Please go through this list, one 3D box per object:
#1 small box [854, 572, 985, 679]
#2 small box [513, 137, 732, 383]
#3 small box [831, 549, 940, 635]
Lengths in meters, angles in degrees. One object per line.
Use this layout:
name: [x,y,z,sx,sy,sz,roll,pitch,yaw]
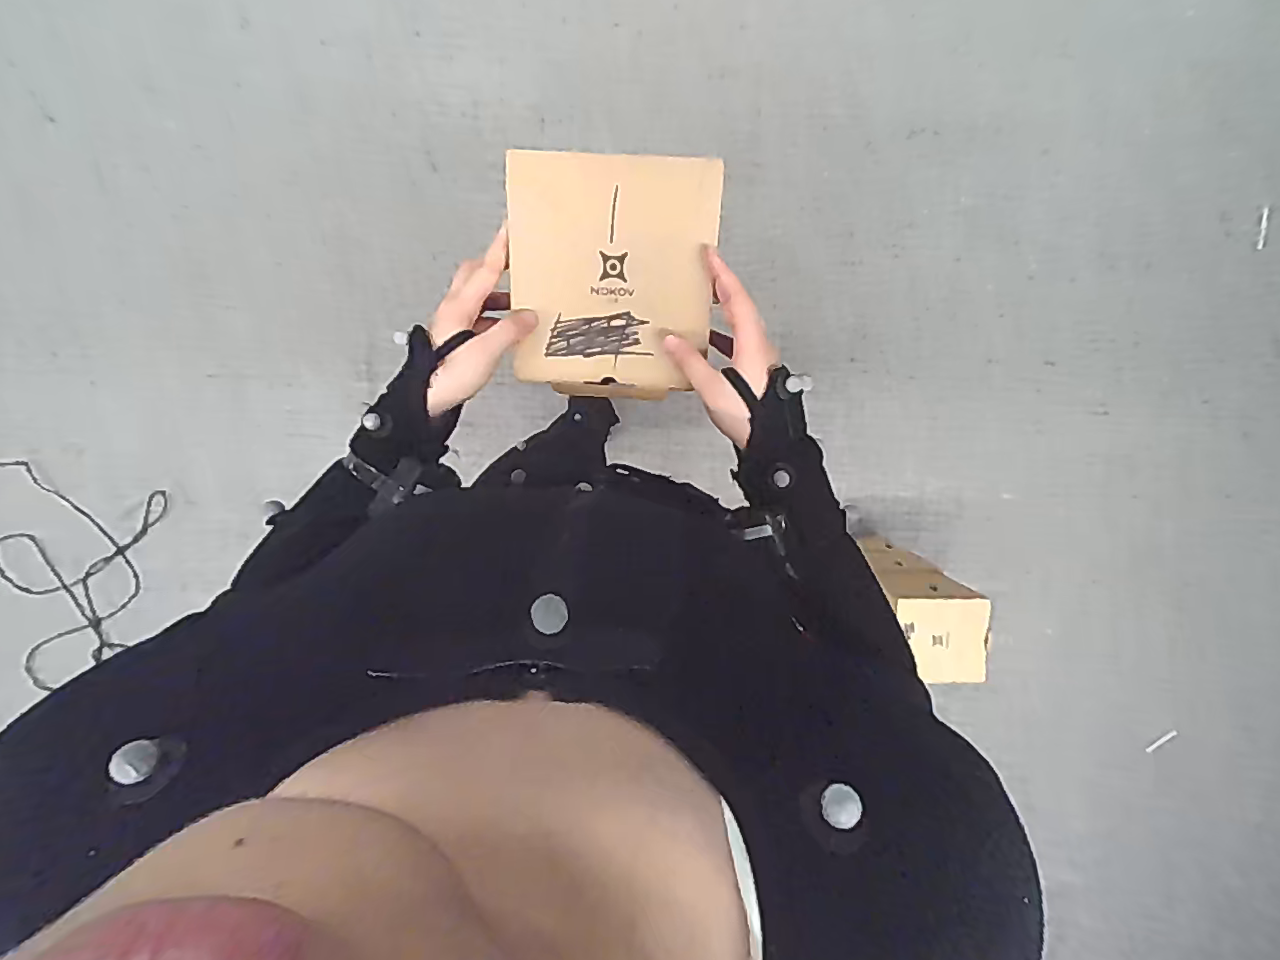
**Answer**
small box: [0.559,0.288,1.099,0.179,0.176,0.168,0,97,-1]
small box: [-0.014,-0.199,0.503,0.168,0.176,0.179,3,113,0]
small box: [0.564,0.259,1.260,0.179,0.176,0.168,0,97,1]
